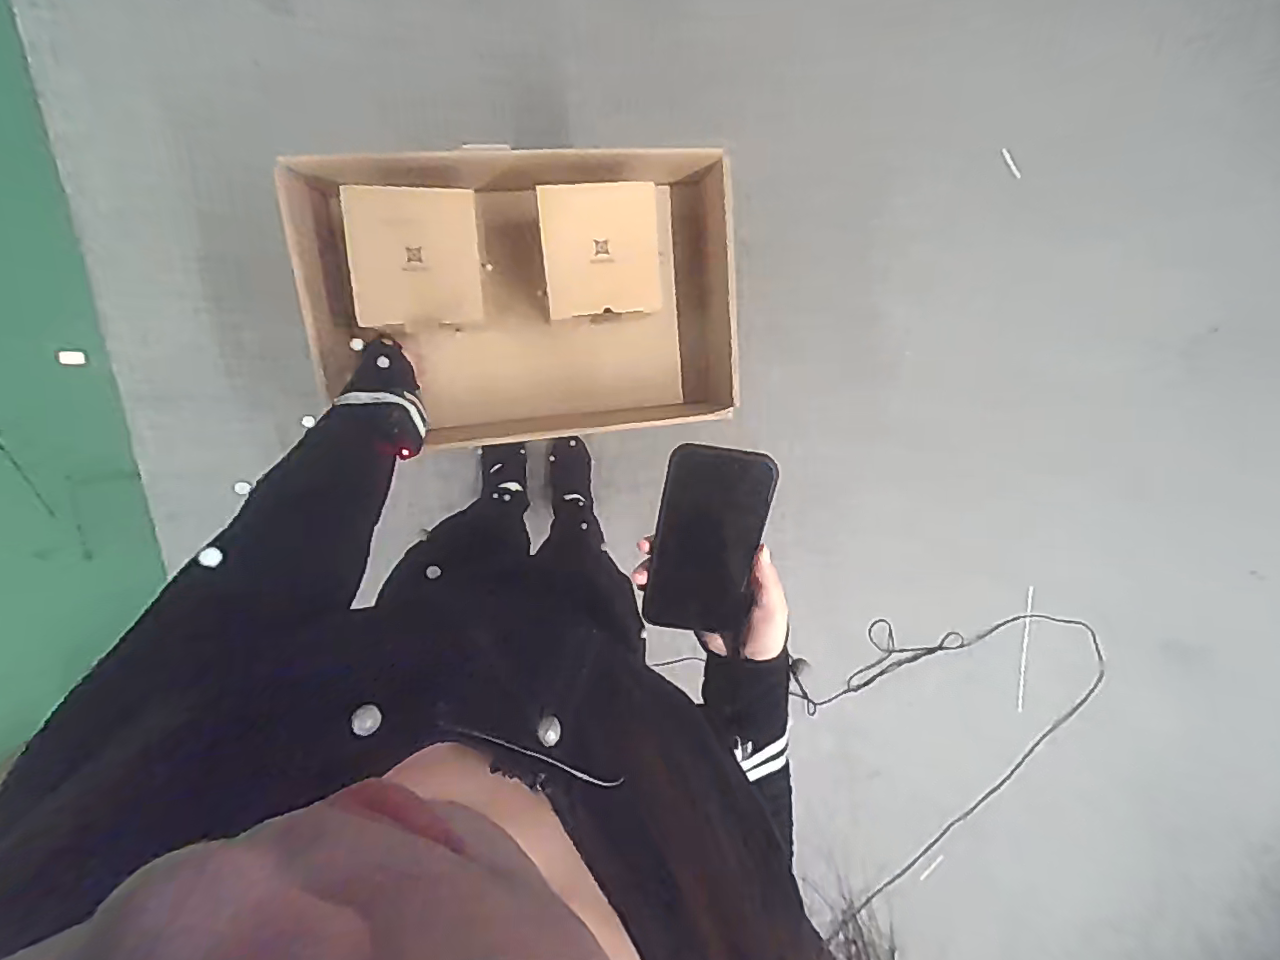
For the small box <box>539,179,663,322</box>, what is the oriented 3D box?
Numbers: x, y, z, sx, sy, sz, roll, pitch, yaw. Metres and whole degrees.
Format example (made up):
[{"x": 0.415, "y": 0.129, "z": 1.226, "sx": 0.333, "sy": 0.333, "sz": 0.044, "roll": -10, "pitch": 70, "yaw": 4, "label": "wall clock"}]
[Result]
[{"x": -0.065, "y": -0.342, "z": 0.831, "sx": 0.168, "sy": 0.176, "sz": 0.179, "roll": -7, "pitch": 105, "yaw": -8, "label": "small box"}]
